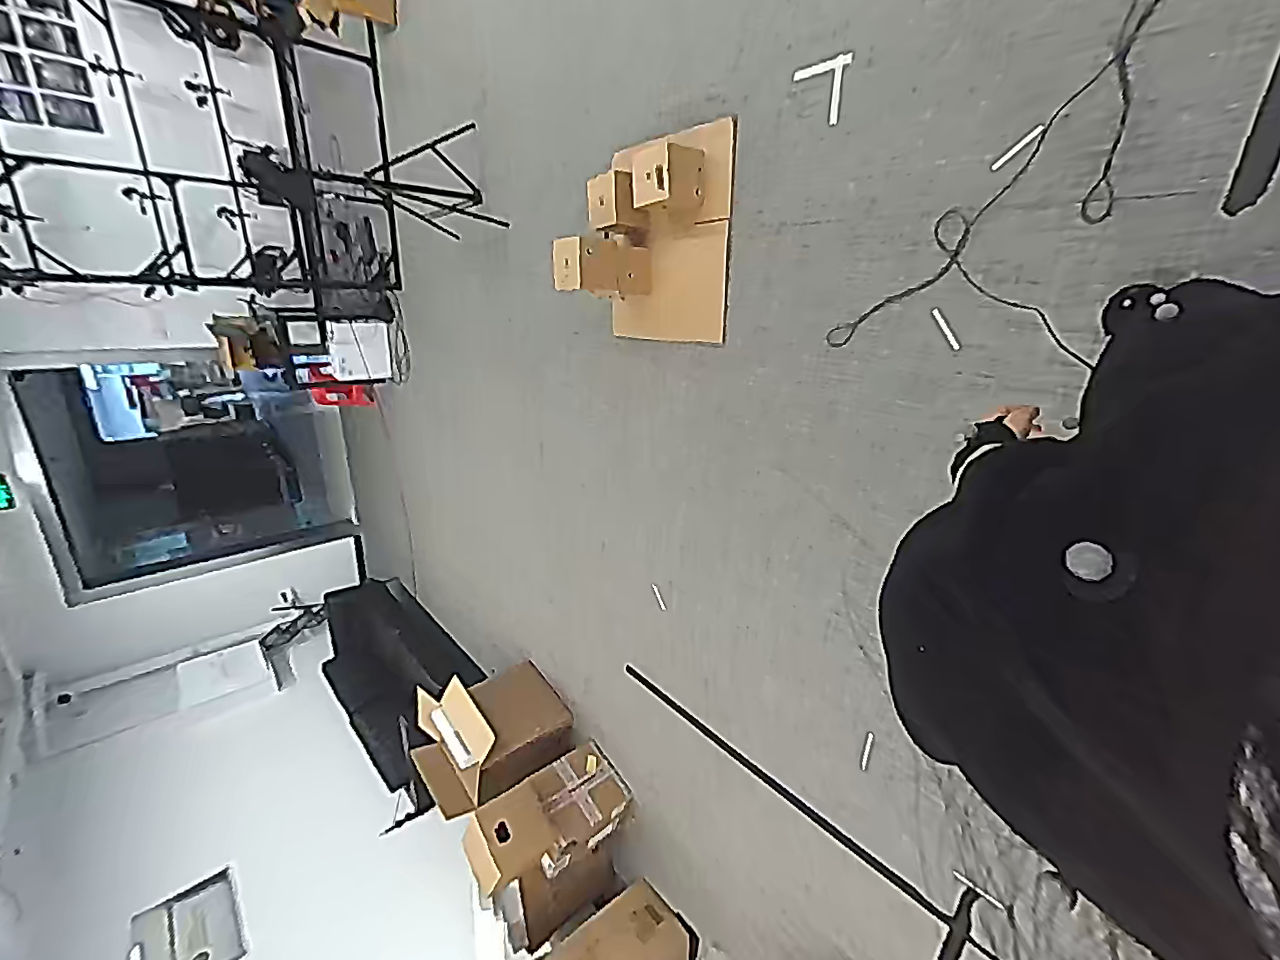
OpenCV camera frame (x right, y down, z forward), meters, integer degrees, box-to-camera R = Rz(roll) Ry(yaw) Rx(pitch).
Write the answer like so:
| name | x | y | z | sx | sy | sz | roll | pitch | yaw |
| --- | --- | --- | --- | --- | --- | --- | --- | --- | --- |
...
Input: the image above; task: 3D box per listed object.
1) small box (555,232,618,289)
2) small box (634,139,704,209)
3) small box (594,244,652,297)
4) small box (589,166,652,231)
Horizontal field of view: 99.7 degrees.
| name | x | y | z | sx | sy | sz | roll | pitch | yaw |
| --- | --- | --- | --- | --- | --- | --- | --- | --- | --- |
| small box | -0.192 | -0.791 | 1.960 | 0.168 | 0.176 | 0.179 | 20 | 117 | 46 |
| small box | 0.100 | -1.016 | 1.807 | 0.179 | 0.176 | 0.168 | 16 | 114 | 47 |
| small box | -0.068 | -0.802 | 2.073 | 0.168 | 0.176 | 0.179 | 14 | 114 | 46 |
| small box | -0.071 | -1.038 | 2.004 | 0.168 | 0.176 | 0.179 | 15 | 114 | 48 |
